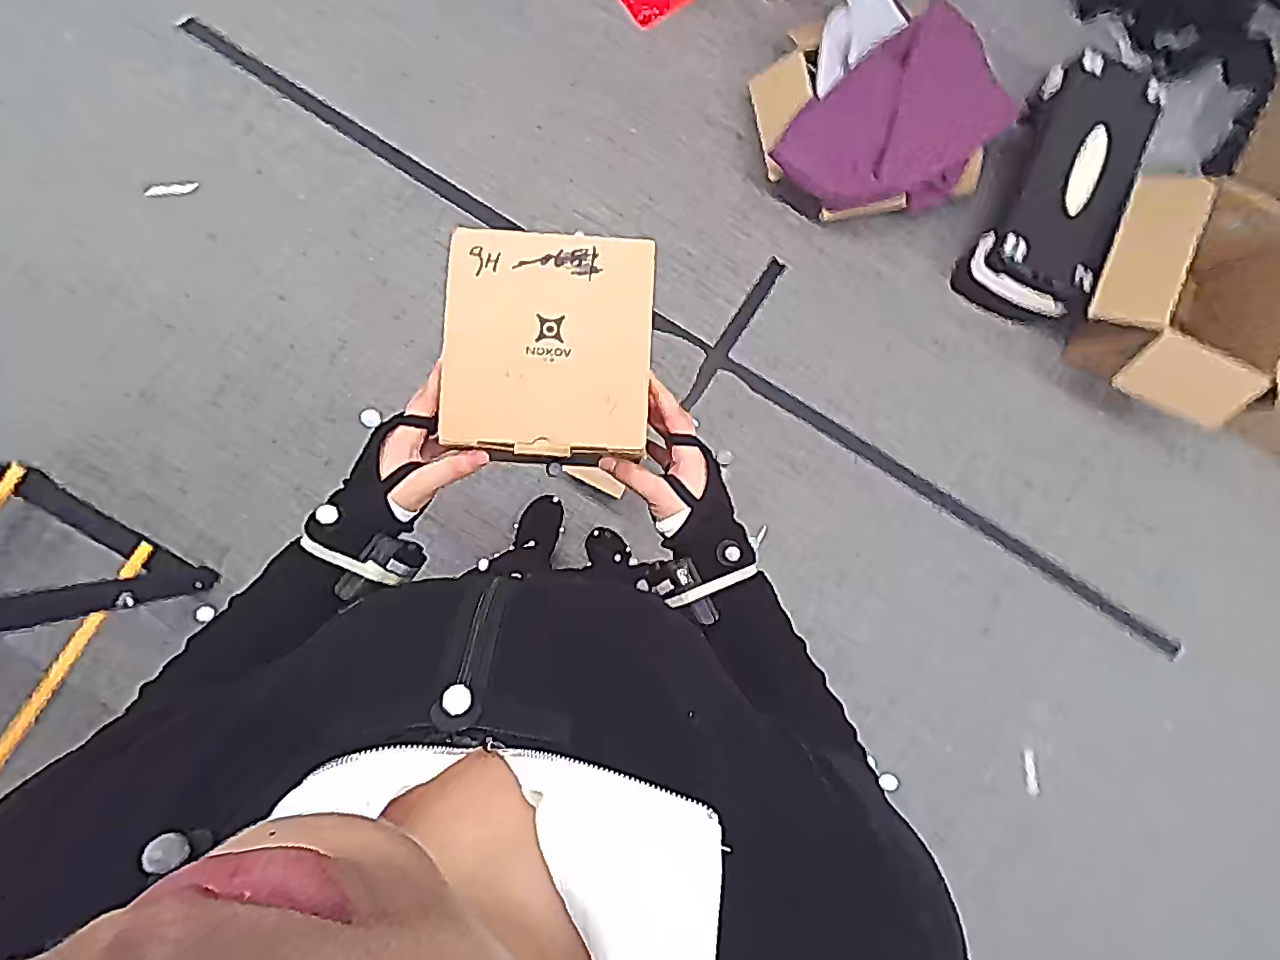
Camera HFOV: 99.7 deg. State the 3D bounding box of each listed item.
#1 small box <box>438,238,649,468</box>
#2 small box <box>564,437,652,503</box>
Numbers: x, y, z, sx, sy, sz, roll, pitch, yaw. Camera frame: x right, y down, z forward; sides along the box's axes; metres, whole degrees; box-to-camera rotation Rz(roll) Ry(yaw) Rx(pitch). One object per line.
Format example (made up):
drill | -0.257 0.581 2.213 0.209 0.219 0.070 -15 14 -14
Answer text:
small box | -0.077 -0.102 0.508 0.168 0.176 0.179 1 88 -1
small box | -0.084 -0.053 1.429 0.168 0.176 0.179 27 87 -1
